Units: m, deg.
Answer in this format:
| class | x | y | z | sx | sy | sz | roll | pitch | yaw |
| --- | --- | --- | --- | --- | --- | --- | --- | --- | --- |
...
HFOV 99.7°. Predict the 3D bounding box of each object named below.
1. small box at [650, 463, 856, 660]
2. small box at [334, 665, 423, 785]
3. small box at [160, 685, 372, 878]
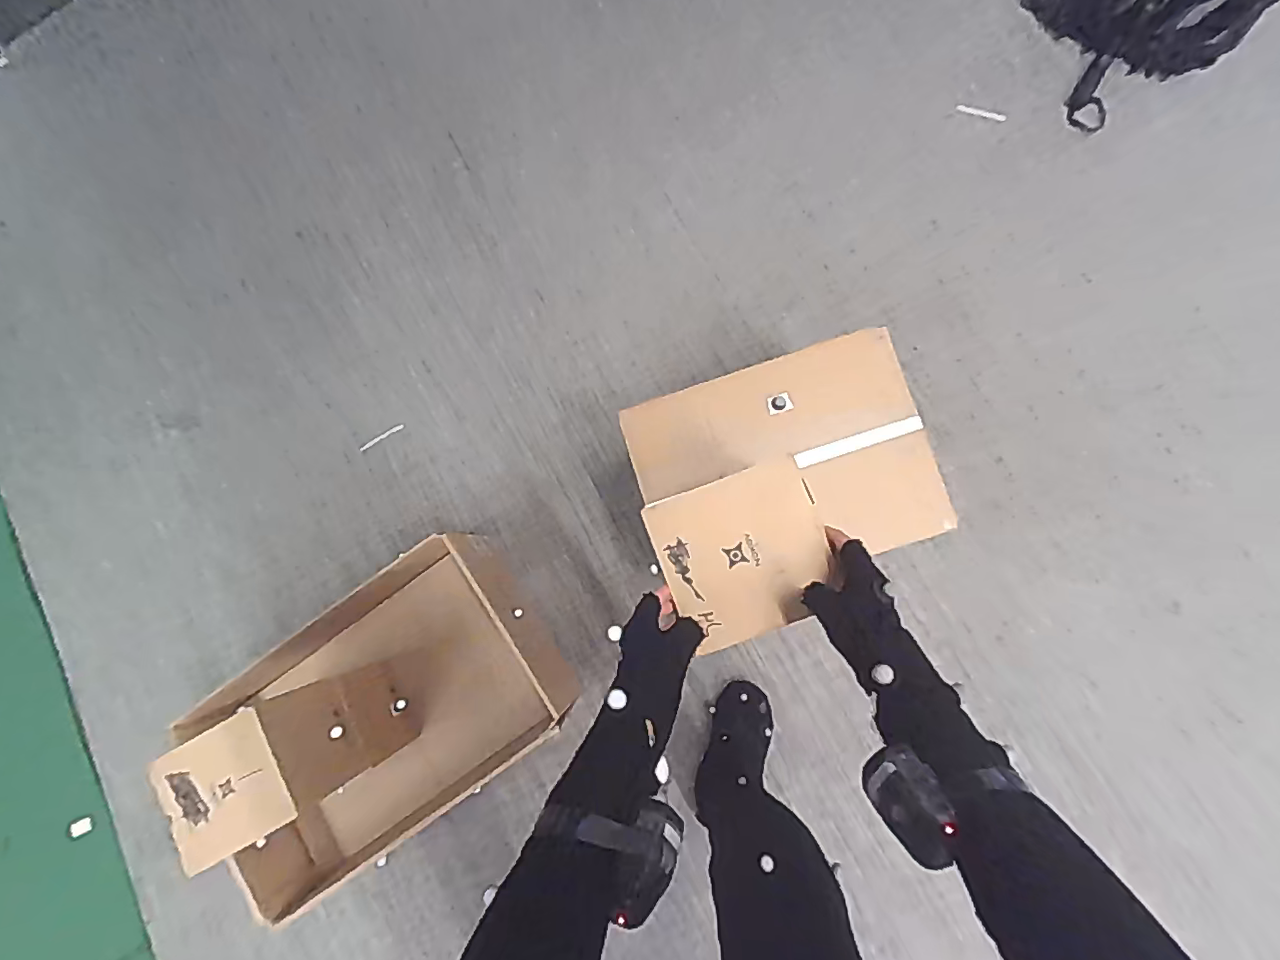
| class | x | y | z | sx | sy | sz | roll | pitch | yaw |
| --- | --- | --- | --- | --- | --- | --- | --- | --- | --- |
| small box | 0.125 | 0.095 | 0.649 | 0.179 | 0.176 | 0.168 | -21 | 79 | 4 |
| small box | -0.535 | 0.462 | 0.983 | 0.179 | 0.176 | 0.168 | -29 | 81 | 0 |
| small box | -0.554 | 0.441 | 0.822 | 0.179 | 0.176 | 0.168 | -29 | 81 | 0 |
